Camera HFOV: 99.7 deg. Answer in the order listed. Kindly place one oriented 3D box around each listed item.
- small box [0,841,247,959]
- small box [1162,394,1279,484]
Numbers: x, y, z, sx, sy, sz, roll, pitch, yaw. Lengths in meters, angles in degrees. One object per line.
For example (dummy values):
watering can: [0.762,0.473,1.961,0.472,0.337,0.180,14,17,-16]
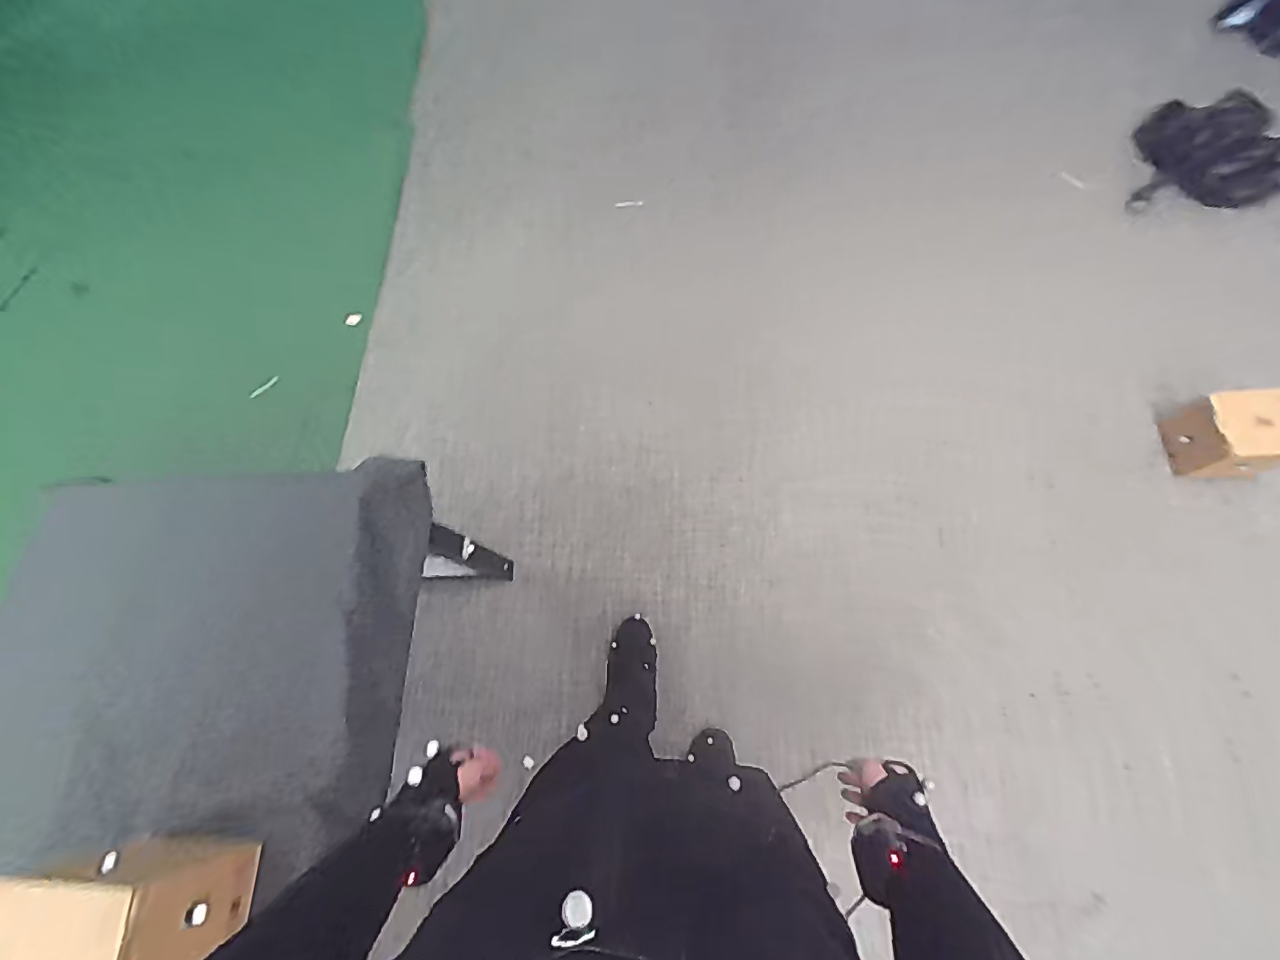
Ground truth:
small box: [-0.579,0.509,0.585,0.179,0.176,0.168,-3,69,8]
small box: [1.432,-0.093,1.313,0.179,0.176,0.168,-3,70,7]
